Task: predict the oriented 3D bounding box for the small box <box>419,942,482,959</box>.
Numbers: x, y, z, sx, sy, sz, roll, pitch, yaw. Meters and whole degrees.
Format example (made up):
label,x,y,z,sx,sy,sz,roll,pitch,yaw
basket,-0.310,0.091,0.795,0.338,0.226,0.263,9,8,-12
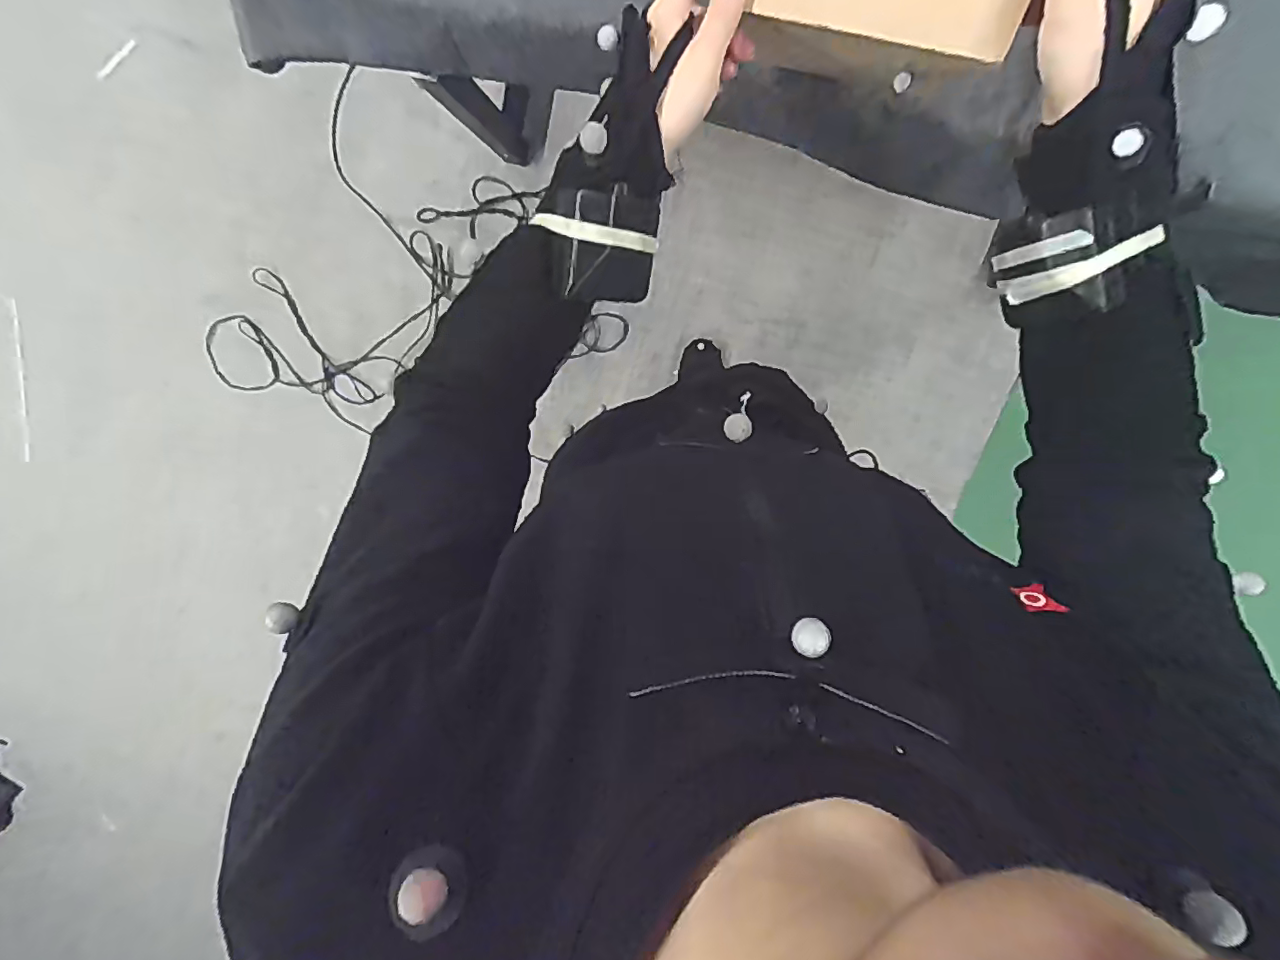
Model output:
label,x,y,z,sx,sy,sz,roll,pitch,yaw
small box,-0.521,1.341,1.385,0.179,0.176,0.168,22,107,0
